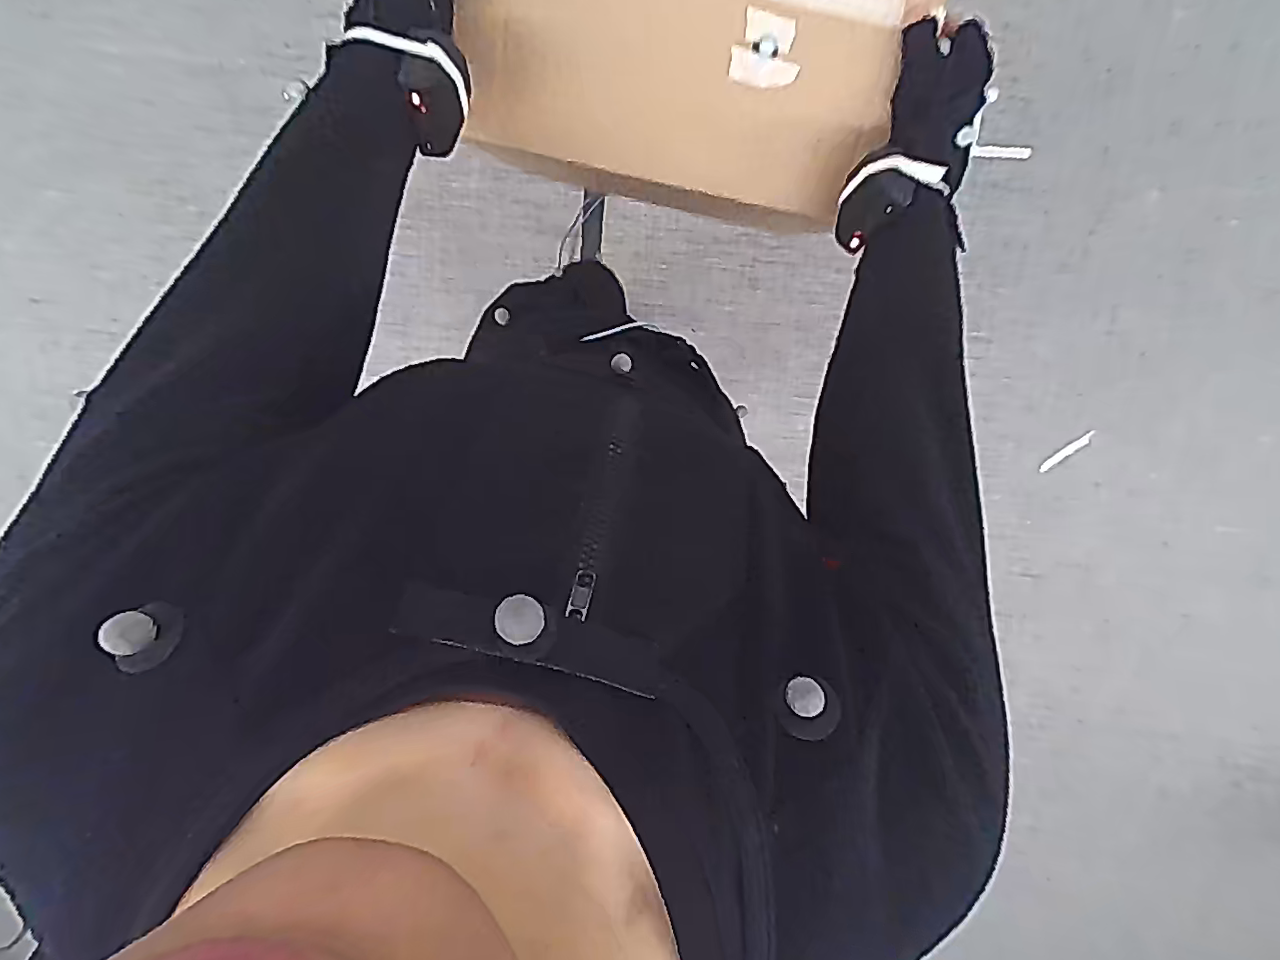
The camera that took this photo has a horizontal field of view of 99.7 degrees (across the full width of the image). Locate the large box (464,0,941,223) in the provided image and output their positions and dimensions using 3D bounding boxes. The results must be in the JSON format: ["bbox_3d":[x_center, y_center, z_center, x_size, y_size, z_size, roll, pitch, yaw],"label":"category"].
[{"bbox_3d":[0.058,-0.485,0.587,0.408,0.320,0.320,11,115,-4],"label":"large box"}]
